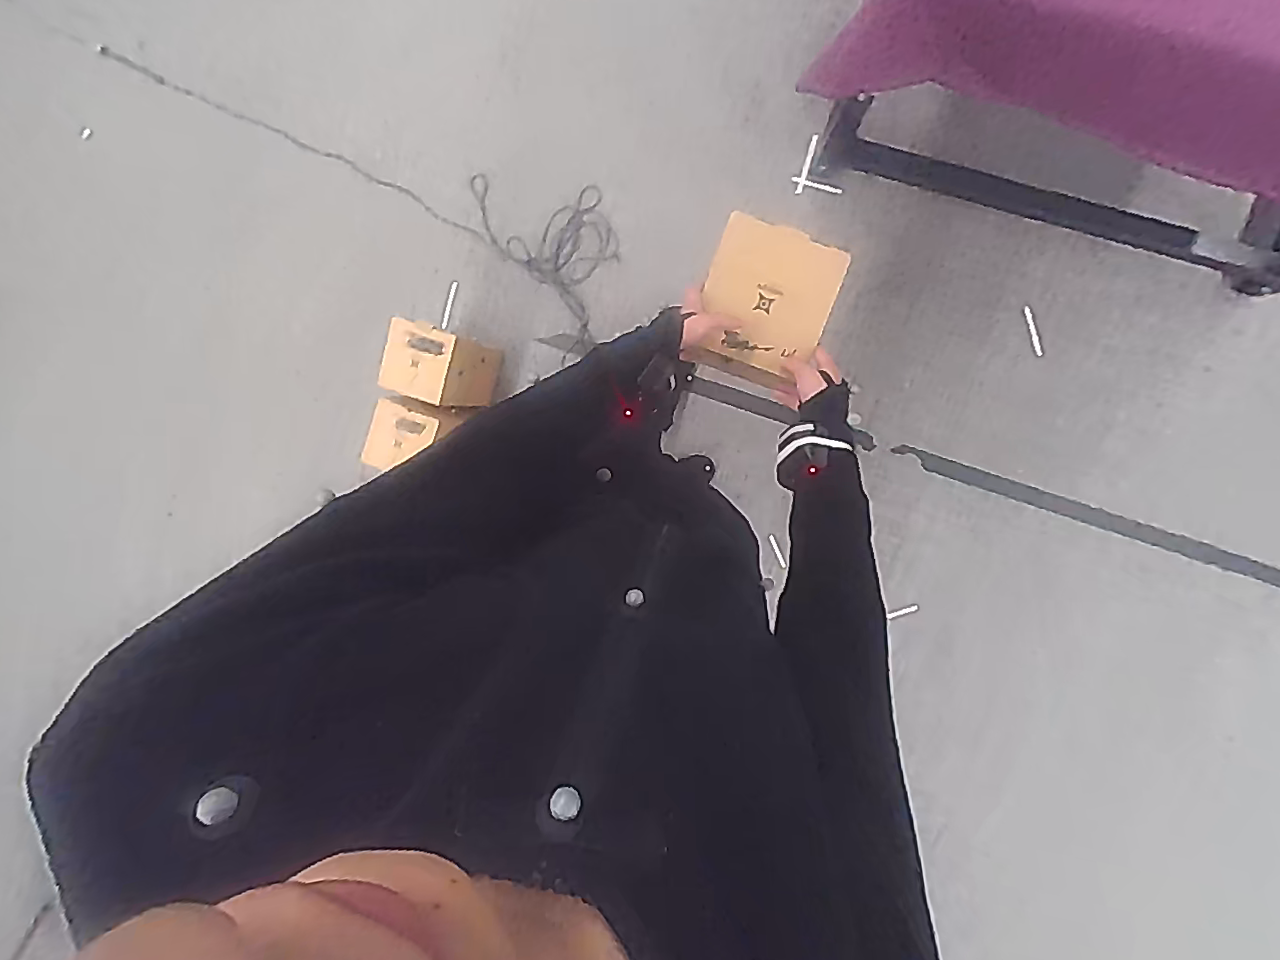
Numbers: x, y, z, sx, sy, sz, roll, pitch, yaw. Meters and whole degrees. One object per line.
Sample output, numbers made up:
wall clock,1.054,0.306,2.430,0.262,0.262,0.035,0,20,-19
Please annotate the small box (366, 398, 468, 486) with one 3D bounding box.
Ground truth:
small box,-0.575,-0.108,1.416,0.168,0.176,0.179,23,103,3

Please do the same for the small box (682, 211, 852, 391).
small box,0.164,-0.238,0.765,0.168,0.176,0.179,21,97,-1
